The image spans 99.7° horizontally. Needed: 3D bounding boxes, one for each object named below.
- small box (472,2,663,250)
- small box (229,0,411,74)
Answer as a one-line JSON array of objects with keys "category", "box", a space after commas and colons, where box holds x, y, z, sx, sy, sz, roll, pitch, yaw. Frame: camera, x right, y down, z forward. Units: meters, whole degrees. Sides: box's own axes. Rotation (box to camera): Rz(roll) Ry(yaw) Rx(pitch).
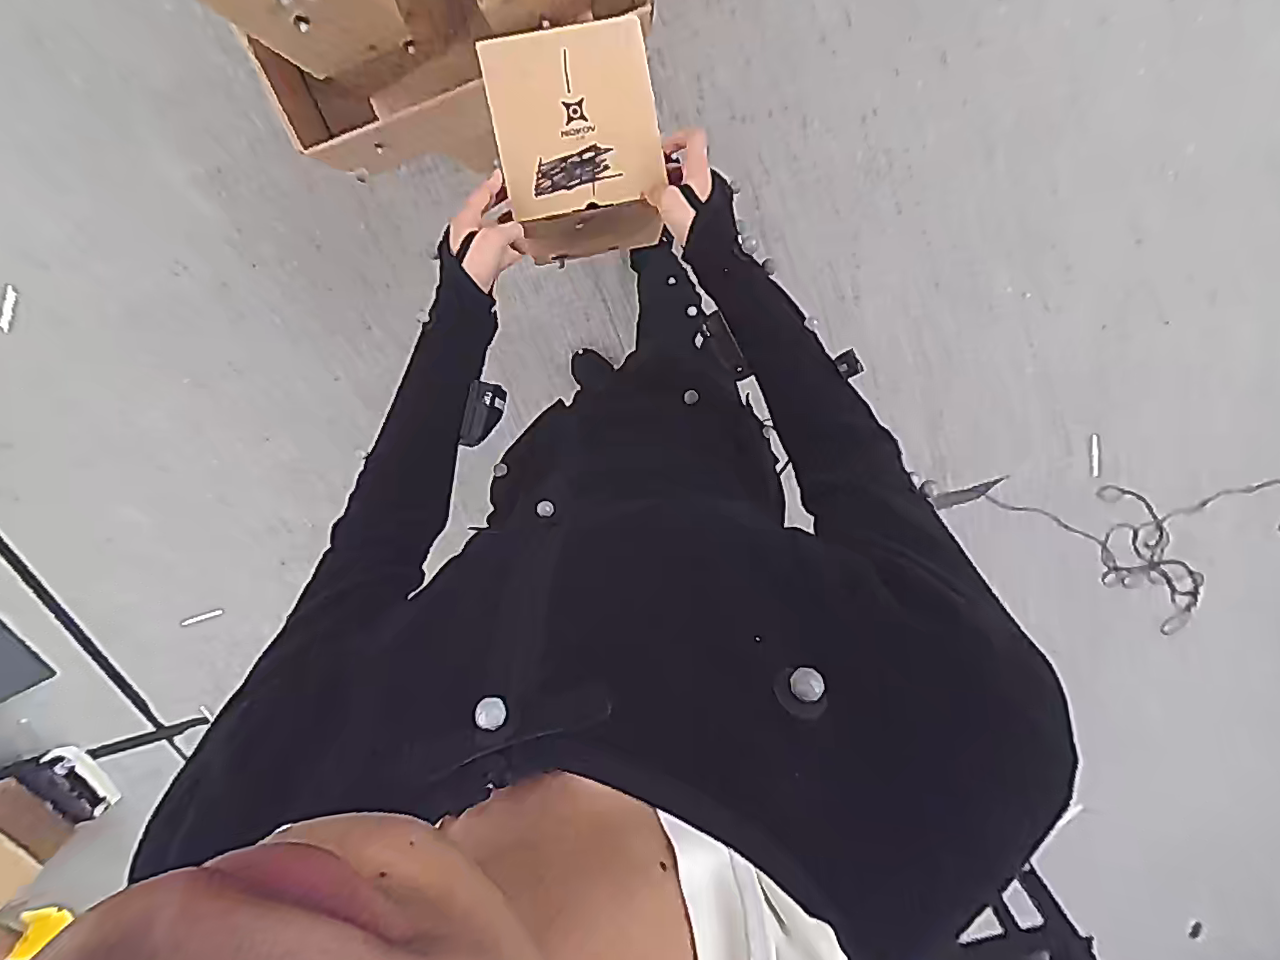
[{"category": "small box", "box": [-0.073, -0.378, 0.617, 0.168, 0.176, 0.179, -12, 98, -2]}, {"category": "small box", "box": [-0.433, -0.678, 0.699, 0.168, 0.176, 0.179, -17, 109, 7]}]
